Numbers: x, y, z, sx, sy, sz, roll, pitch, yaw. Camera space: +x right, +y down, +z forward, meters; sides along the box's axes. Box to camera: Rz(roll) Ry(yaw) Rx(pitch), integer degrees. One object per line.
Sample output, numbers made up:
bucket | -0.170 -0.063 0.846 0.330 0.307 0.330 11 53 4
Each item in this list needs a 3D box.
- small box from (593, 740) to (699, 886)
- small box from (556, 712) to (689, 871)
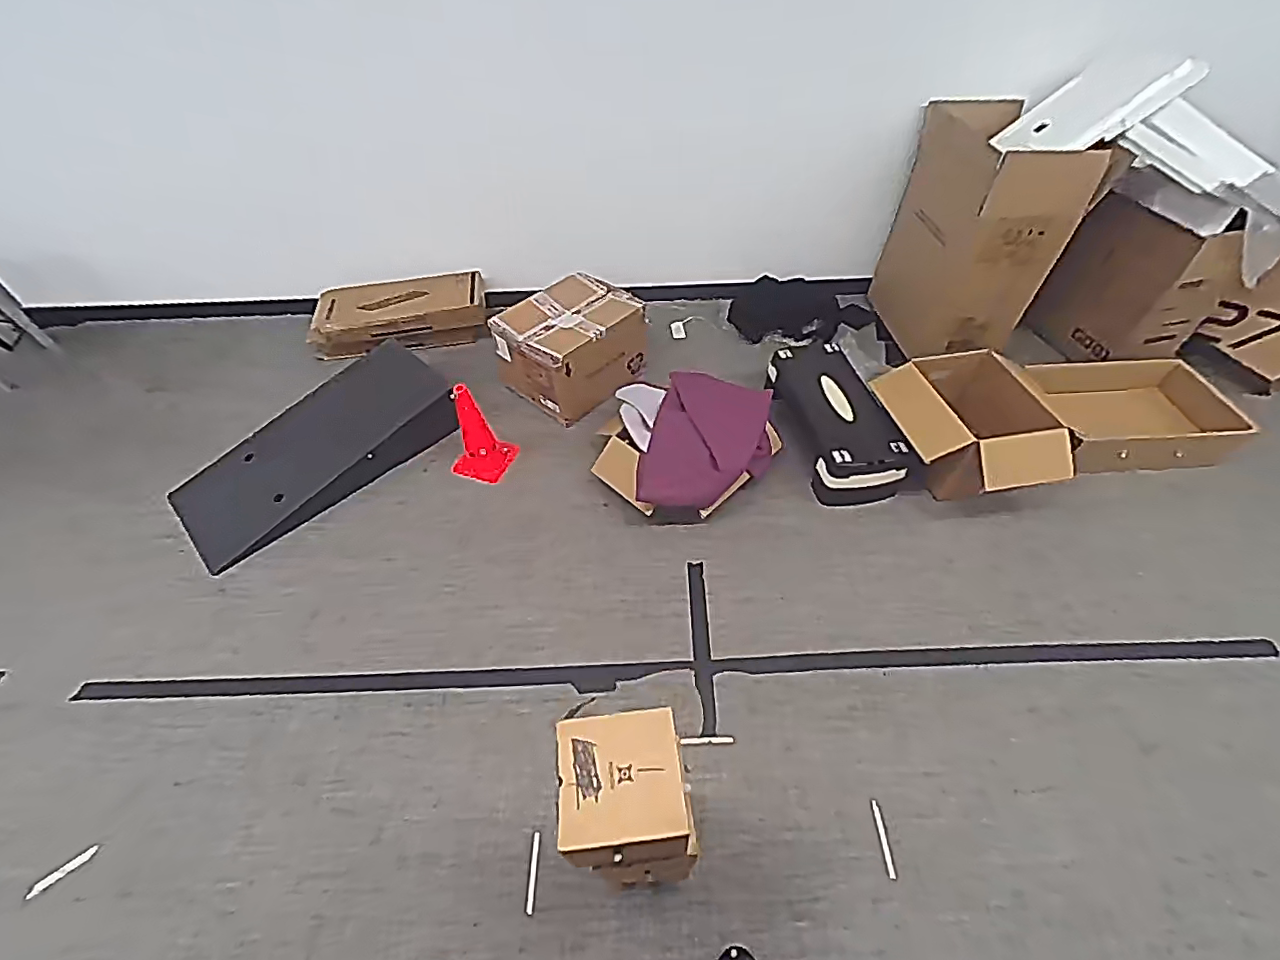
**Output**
small box | 0.003 0.574 0.932 0.168 0.176 0.179 -8 49 -2
small box | -0.025 0.468 0.808 0.179 0.176 0.168 -6 49 -2
